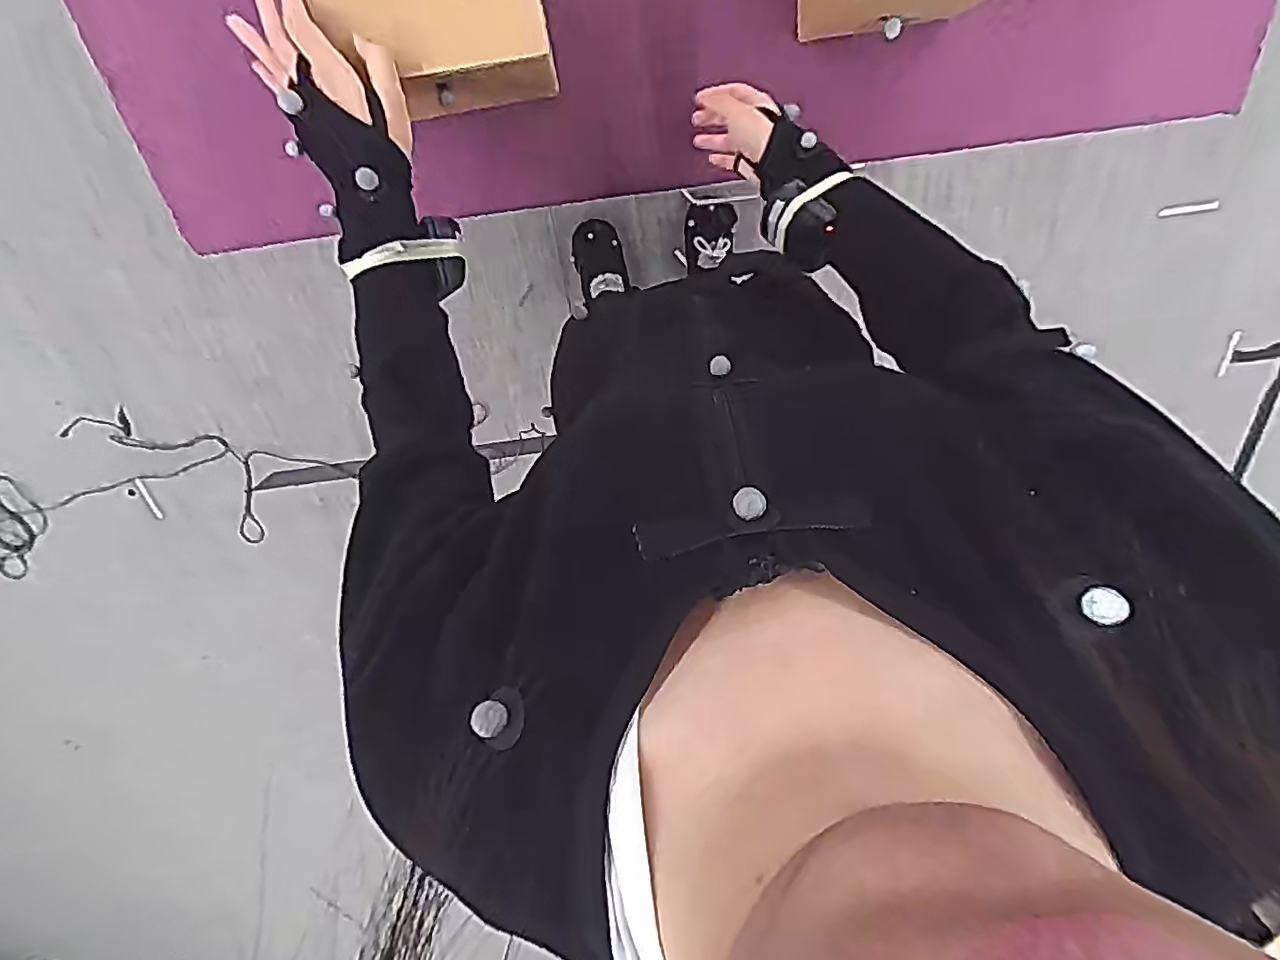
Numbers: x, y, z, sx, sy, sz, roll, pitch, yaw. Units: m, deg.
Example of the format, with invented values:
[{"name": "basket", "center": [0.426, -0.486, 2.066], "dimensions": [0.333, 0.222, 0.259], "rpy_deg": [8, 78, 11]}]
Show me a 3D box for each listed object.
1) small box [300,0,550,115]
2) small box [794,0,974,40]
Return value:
[{"name": "small box", "center": [-0.178, -0.429, 0.460], "dimensions": [0.179, 0.176, 0.168], "rpy_deg": [-10, 118, 0]}, {"name": "small box", "center": [0.234, -0.510, 0.452], "dimensions": [0.168, 0.176, 0.179], "rpy_deg": [-9, 118, 0]}]
